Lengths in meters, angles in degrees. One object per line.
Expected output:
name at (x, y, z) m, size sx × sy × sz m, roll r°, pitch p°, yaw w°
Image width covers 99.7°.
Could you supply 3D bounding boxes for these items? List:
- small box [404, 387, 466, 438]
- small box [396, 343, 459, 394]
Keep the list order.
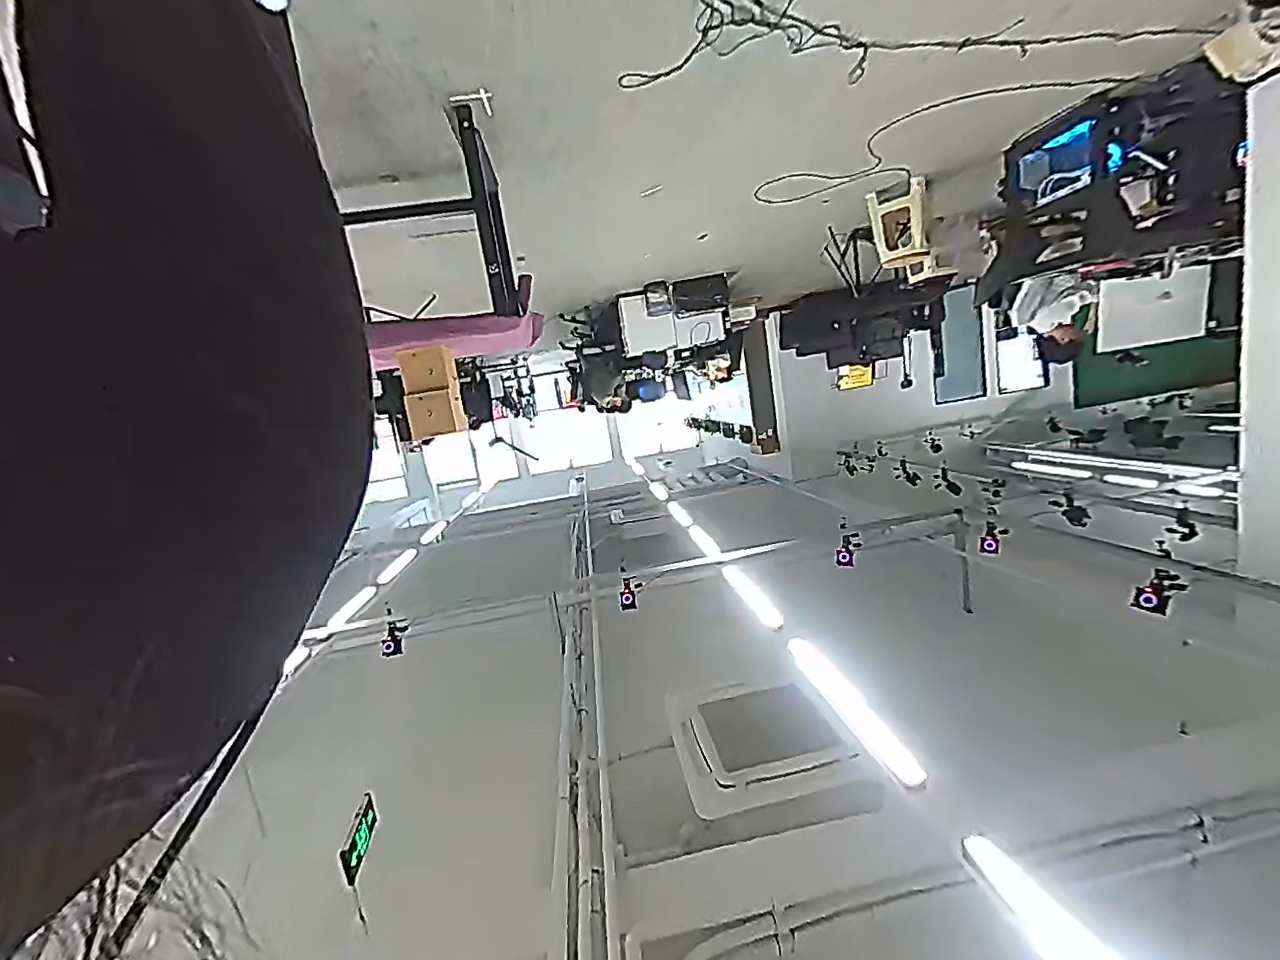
small box at (-0.782, -0.262, 2.067) m, size 0.168 × 0.176 × 0.179 m, roll -10°, pitch -171°, yaw -4°
small box at (-0.810, -0.425, 2.066) m, size 0.168 × 0.176 × 0.179 m, roll -10°, pitch -170°, yaw -5°
